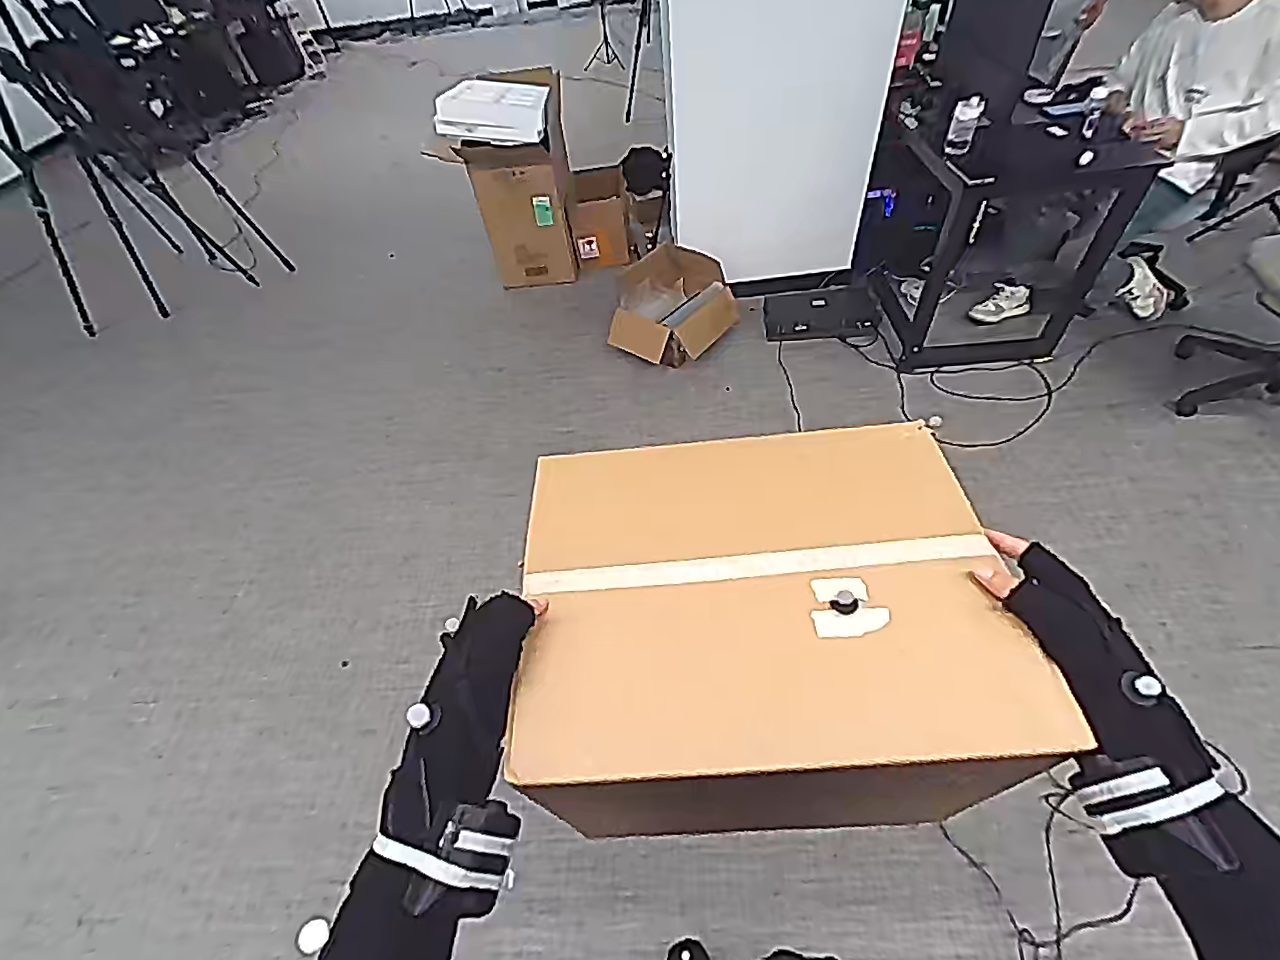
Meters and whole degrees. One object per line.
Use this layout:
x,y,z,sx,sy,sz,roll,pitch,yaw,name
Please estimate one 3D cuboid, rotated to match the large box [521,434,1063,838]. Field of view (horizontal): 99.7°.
0.113,0.181,0.600,0.408,0.320,0.320,-5,50,3,large box
